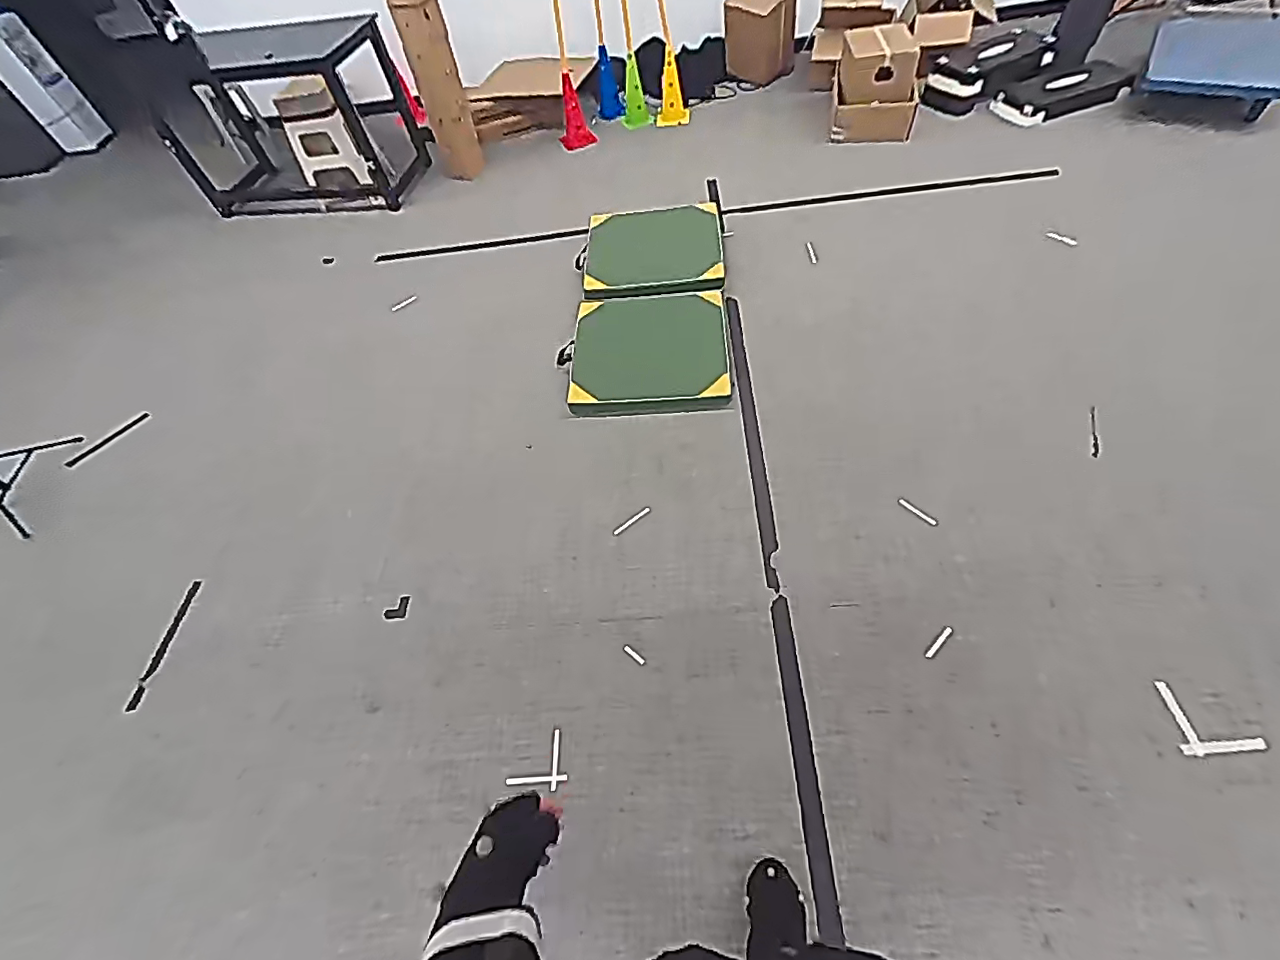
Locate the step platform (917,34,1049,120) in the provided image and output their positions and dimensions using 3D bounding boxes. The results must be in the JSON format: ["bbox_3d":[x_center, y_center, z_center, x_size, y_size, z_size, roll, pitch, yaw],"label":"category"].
[{"bbox_3d":[1.911,-2.254,3.014,0.684,0.204,0.286,-28,56,-11],"label":"step platform"}]
